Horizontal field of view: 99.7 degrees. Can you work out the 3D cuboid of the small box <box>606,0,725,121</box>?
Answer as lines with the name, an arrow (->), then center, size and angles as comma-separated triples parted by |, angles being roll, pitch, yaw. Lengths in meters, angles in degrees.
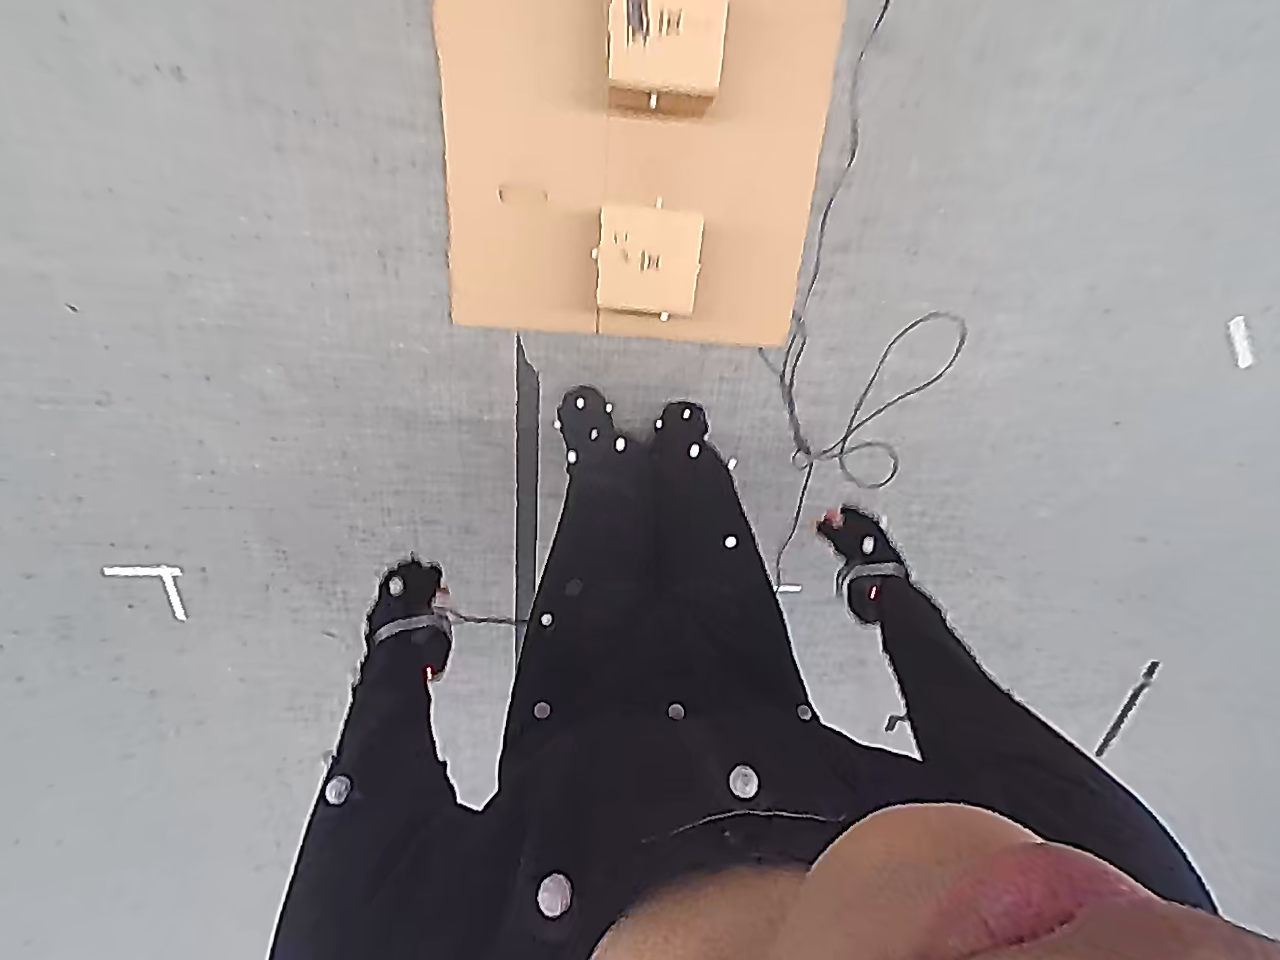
small box -> 0.036, -0.709, 0.892 | 0.179, 0.176, 0.168 | 2, 113, -4

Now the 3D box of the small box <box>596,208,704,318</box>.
small box -> 0.013, -0.409, 1.018 | 0.179, 0.176, 0.168 | 5, 113, -3
